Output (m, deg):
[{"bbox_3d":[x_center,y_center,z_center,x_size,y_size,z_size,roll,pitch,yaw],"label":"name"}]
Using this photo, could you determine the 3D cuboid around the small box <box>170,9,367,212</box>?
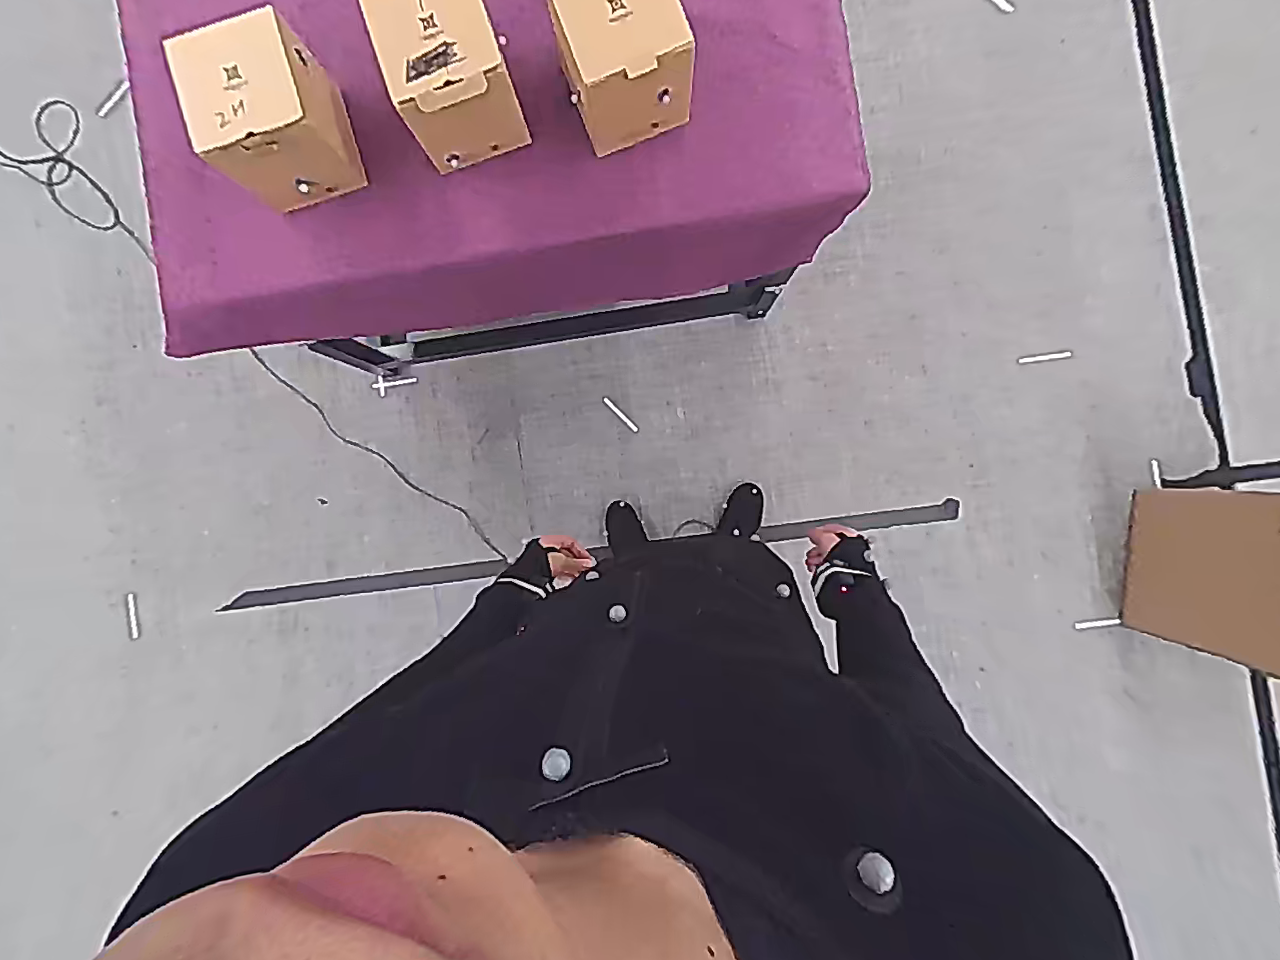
[{"bbox_3d":[-0.563,-0.560,0.842,0.168,0.176,0.179,-17,89,2],"label":"small box"}]

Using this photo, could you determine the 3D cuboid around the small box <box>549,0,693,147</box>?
[{"bbox_3d":[-0.027,-0.653,0.830,0.168,0.176,0.179,-21,88,1],"label":"small box"}]

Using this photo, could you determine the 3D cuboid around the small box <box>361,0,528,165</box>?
[{"bbox_3d":[-0.288,-0.625,0.835,0.168,0.176,0.179,-19,88,1],"label":"small box"}]
